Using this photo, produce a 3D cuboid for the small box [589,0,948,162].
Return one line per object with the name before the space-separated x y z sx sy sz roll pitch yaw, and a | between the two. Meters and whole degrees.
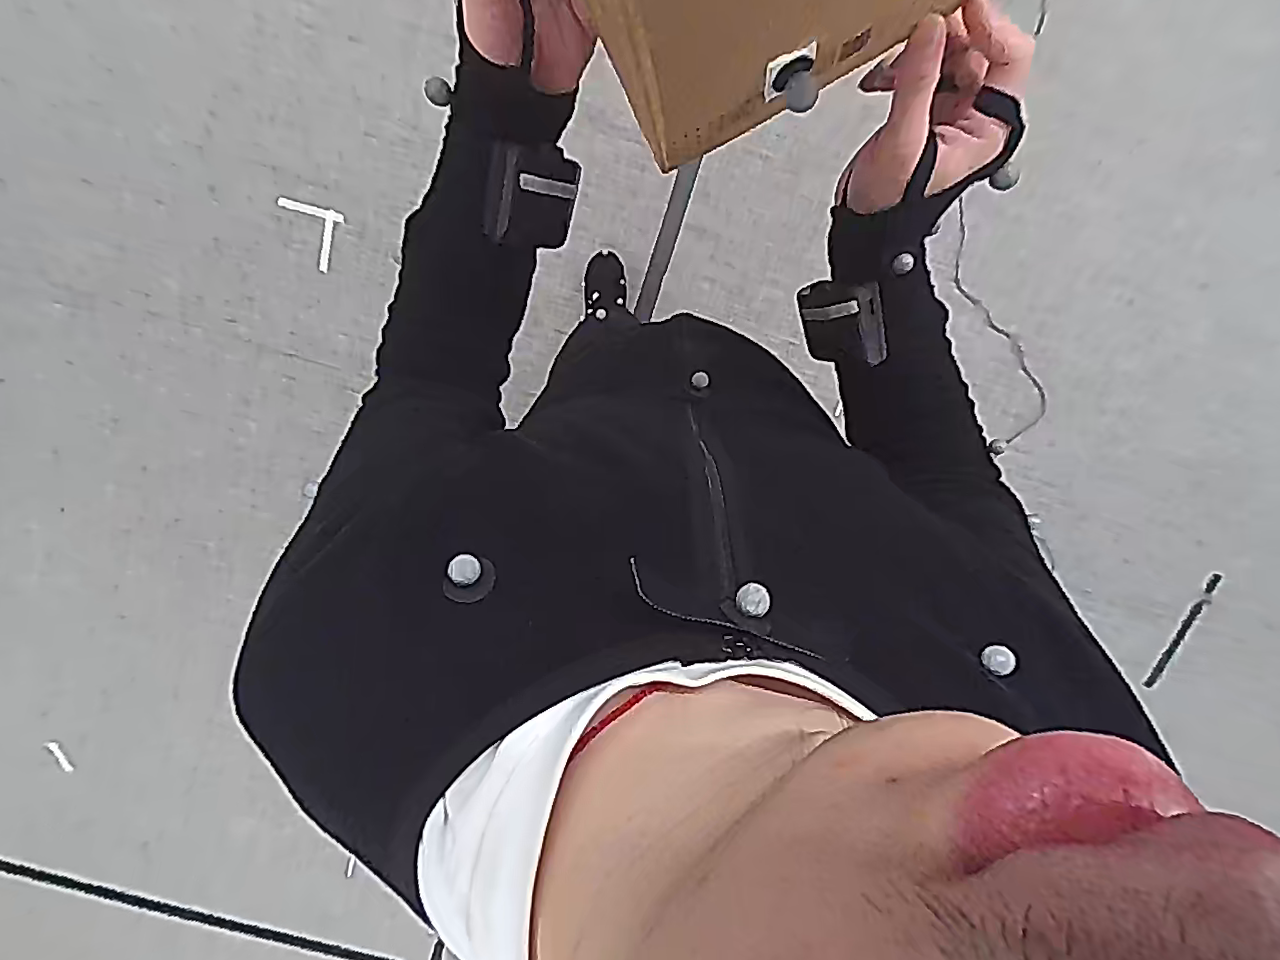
small box | 0.040 -0.276 0.212 0.168 0.176 0.179 -26 93 11
